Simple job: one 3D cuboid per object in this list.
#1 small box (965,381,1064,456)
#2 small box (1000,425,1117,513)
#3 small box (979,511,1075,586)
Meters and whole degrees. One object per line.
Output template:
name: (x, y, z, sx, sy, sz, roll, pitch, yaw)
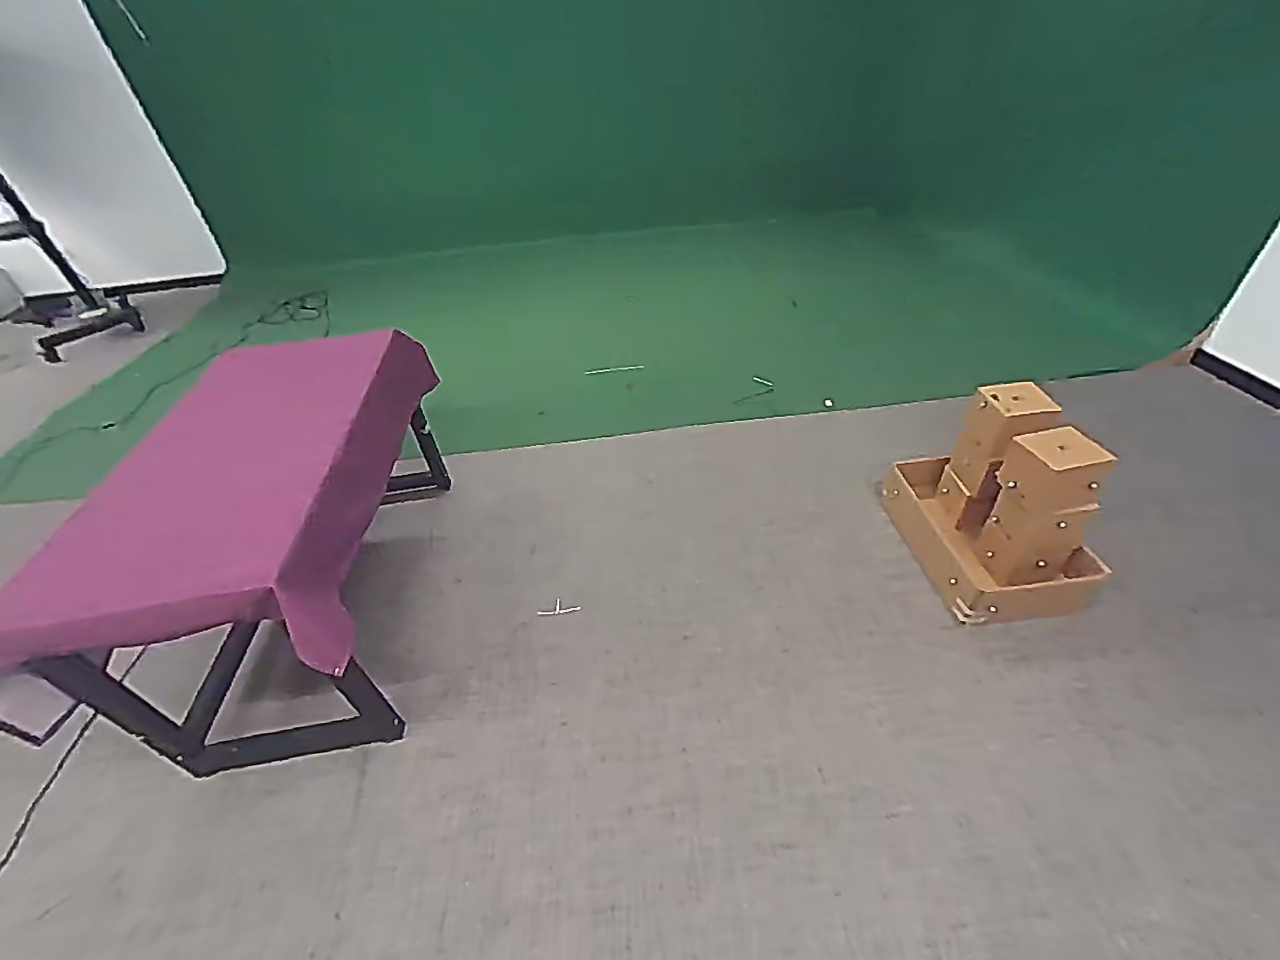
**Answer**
small box: (1.175, -0.193, 1.713, 0.179, 0.176, 0.168, -6, 40, 1)
small box: (1.166, -0.029, 1.524, 0.179, 0.176, 0.168, -11, 39, -2)
small box: (1.221, 0.222, 1.728, 0.179, 0.176, 0.168, -7, 40, 0)
